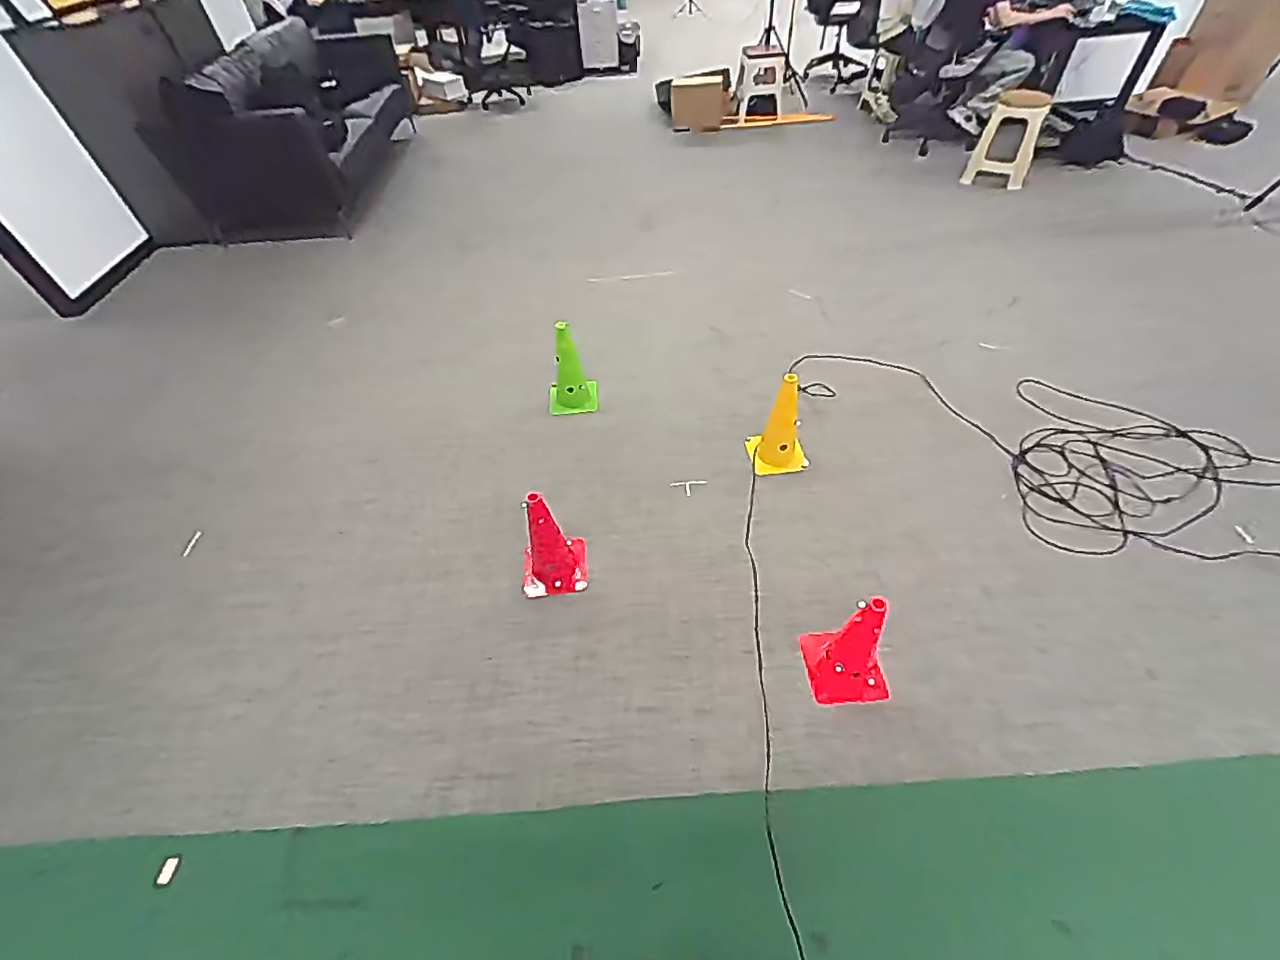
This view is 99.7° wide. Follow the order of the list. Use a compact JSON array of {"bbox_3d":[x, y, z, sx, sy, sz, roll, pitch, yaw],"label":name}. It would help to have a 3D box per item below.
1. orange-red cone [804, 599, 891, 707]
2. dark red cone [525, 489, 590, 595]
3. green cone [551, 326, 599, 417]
[{"bbox_3d":[0.552,0.401,1.346,0.198,0.360,0.199,-3,47,0],"label":"orange-red cone"},{"bbox_3d":[-0.273,0.162,1.593,0.202,0.394,0.201,-8,49,-3],"label":"dark red cone"},{"bbox_3d":[-0.283,-0.452,2.177,0.202,0.368,0.200,-5,48,-2],"label":"green cone"}]
